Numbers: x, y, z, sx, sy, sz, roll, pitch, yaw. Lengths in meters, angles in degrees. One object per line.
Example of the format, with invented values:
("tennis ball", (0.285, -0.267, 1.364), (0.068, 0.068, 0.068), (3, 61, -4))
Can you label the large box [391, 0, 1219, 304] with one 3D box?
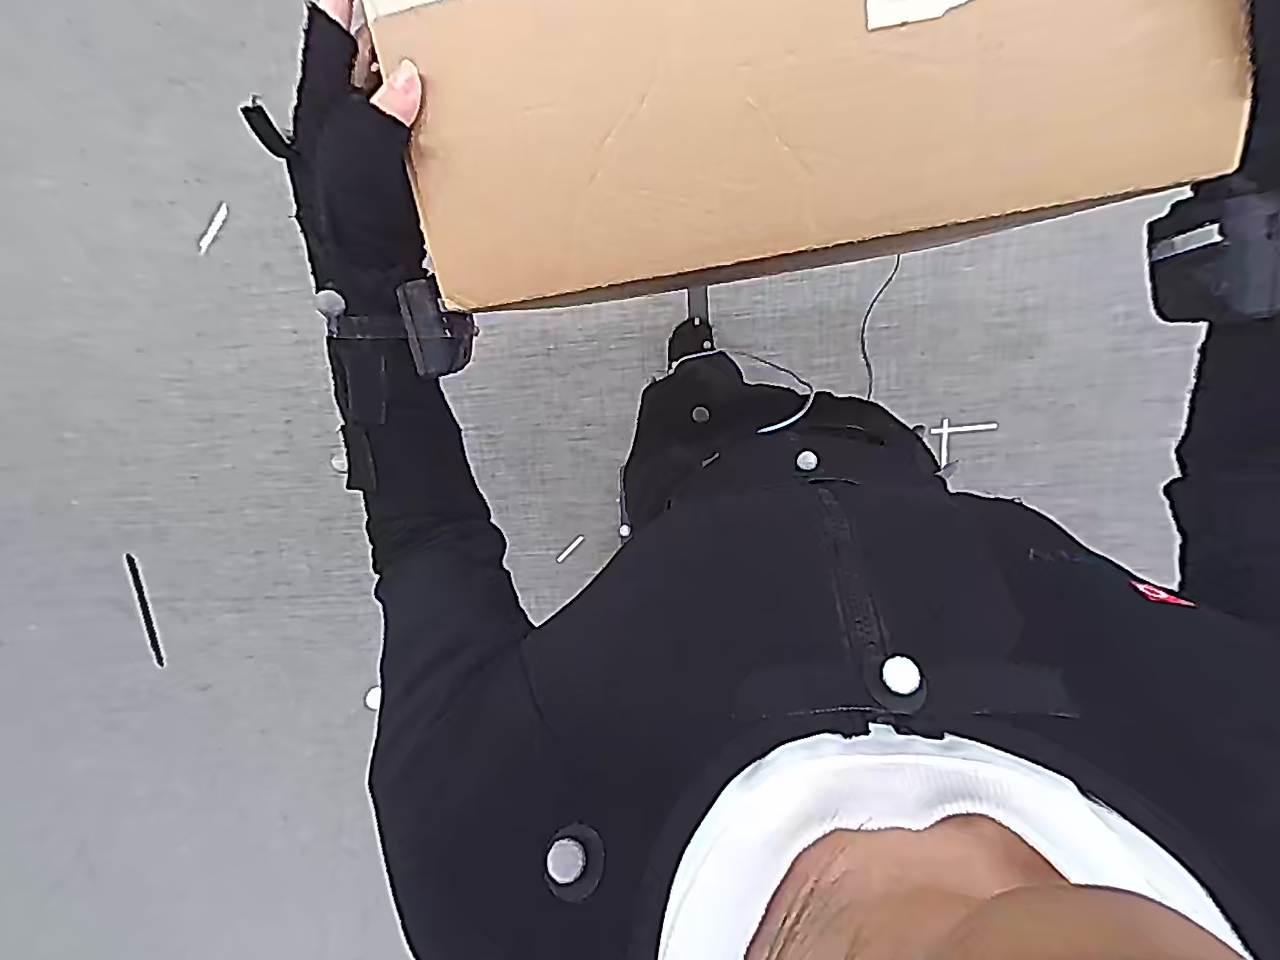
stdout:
("large box", (0.075, -0.325, 0.399), (0.408, 0.320, 0.320), (-7, 107, 9))

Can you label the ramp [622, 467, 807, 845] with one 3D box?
("ramp", (0.195, 0.466, 1.455), (0.509, 0.206, 0.991), (-2, 101, 9))
